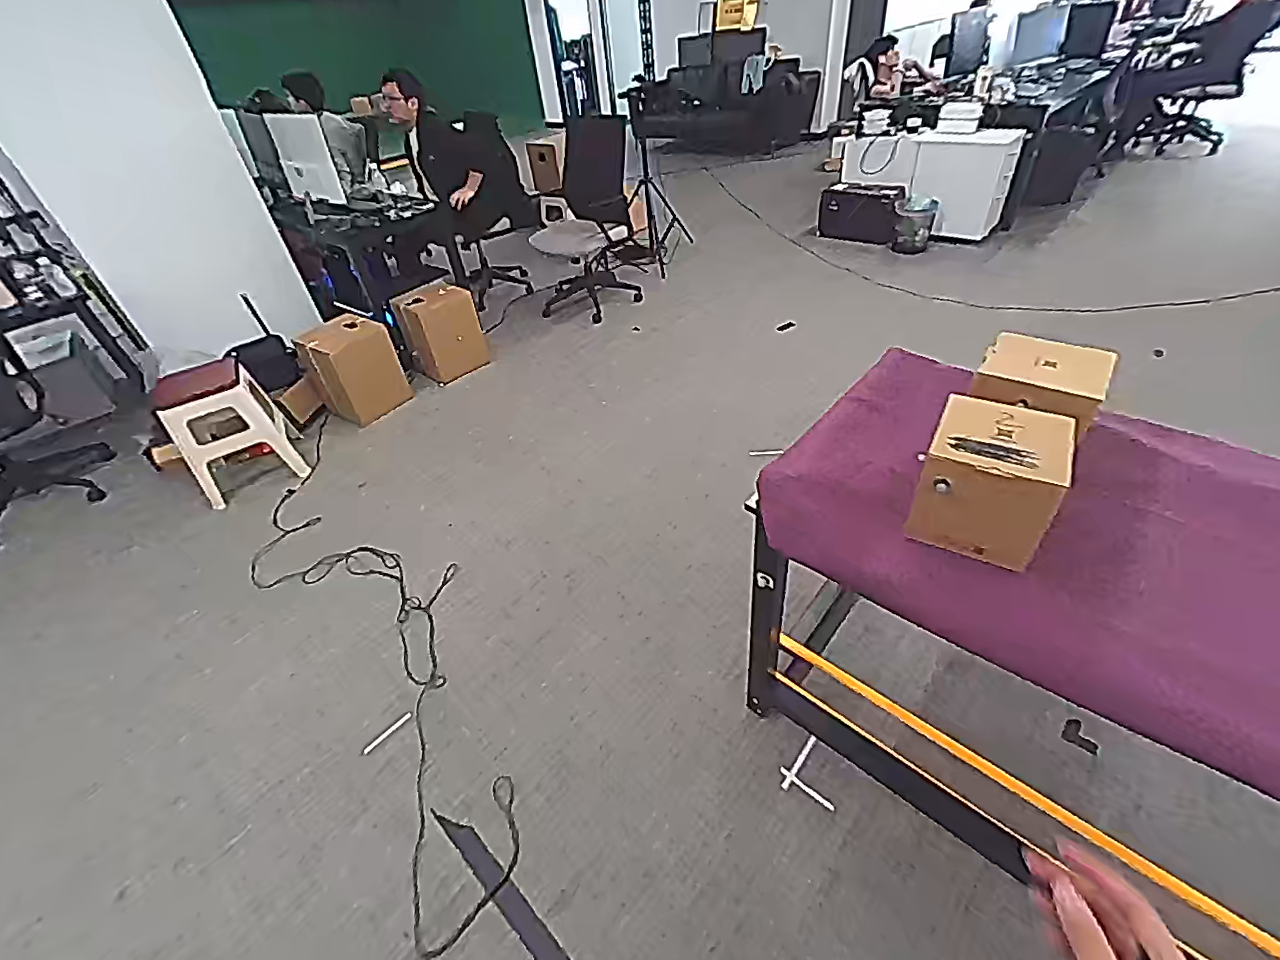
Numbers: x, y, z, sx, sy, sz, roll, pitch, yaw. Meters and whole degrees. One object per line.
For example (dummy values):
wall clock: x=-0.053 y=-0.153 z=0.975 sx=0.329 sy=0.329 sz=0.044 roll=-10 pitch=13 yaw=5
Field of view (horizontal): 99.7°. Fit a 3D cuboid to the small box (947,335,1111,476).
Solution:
small box: x=0.678 y=-0.130 z=0.955 sx=0.179 sy=0.176 sz=0.168 roll=24 pitch=49 yaw=31
